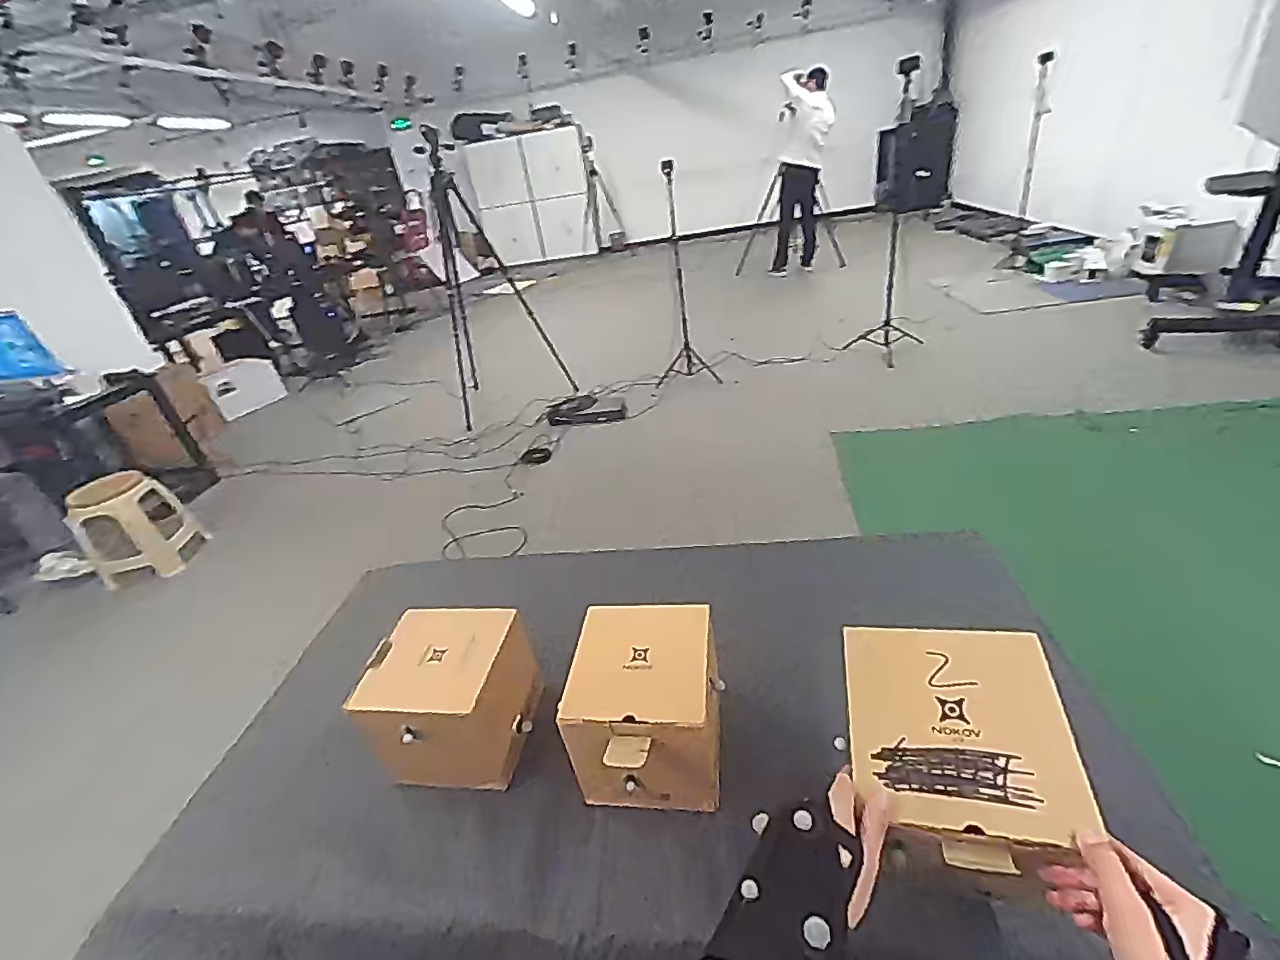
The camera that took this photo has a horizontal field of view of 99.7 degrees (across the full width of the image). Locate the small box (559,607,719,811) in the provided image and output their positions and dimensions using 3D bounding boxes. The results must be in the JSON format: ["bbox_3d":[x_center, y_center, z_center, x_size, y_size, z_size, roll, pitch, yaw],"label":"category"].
[{"bbox_3d":[0.012,0.283,0.688,0.168,0.176,0.179,-3,32,11],"label":"small box"}]

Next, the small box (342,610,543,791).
[{"bbox_3d":[-0.253,0.298,0.740,0.179,0.176,0.168,-2,32,12],"label":"small box"}]
